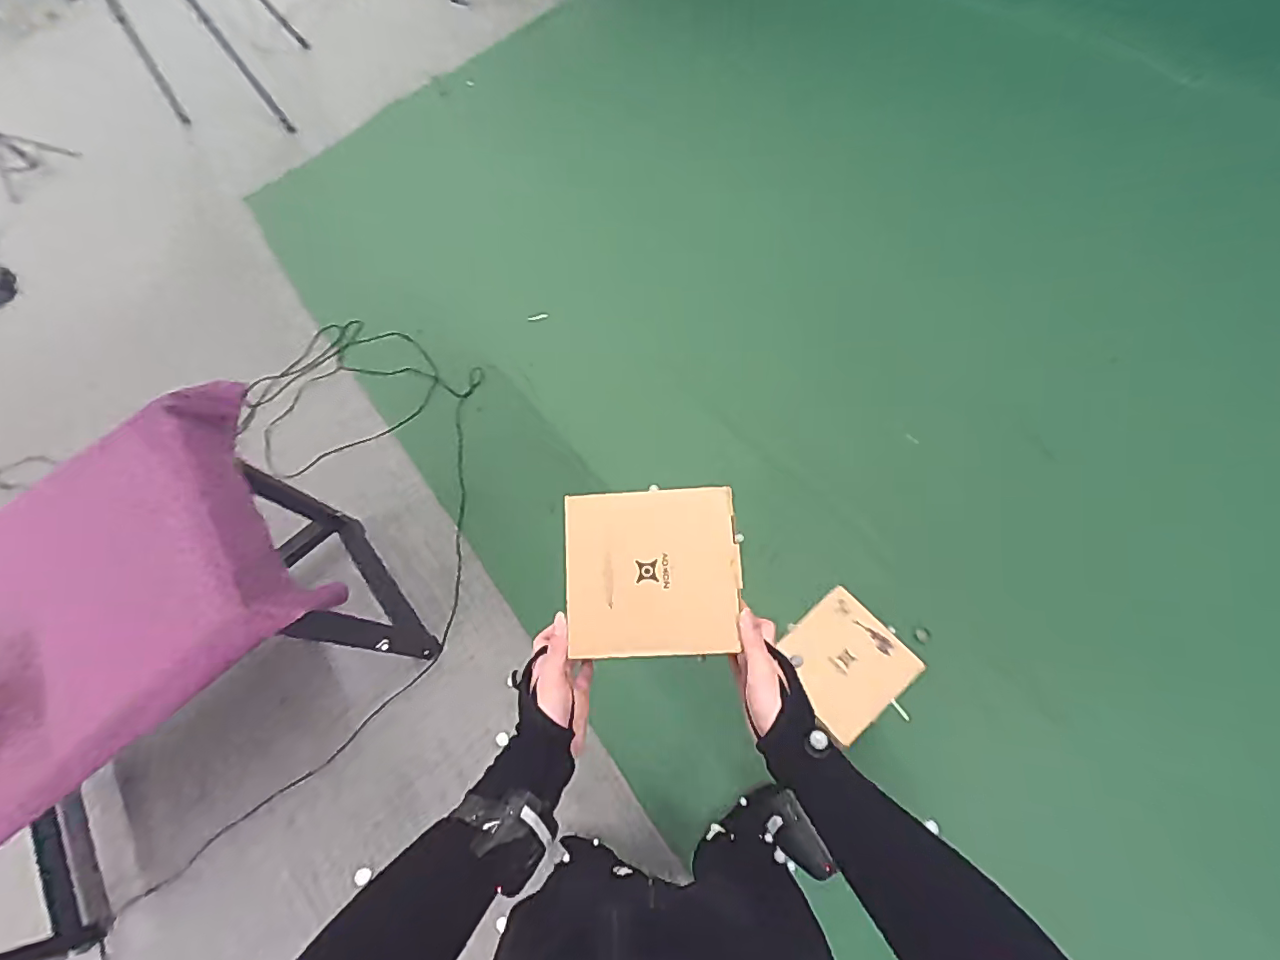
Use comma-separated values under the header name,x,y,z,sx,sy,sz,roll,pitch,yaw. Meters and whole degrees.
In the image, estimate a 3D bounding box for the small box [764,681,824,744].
name,x,y,z,sx,sy,sz,roll,pitch,yaw
small box,0.423,0.514,1.323,0.168,0.176,0.179,-42,66,-10

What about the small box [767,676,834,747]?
name,x,y,z,sx,sy,sz,roll,pitch,yaw
small box,0.396,0.449,1.178,0.168,0.176,0.179,-41,65,-8

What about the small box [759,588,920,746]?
name,x,y,z,sx,sy,sz,roll,pitch,yaw
small box,0.317,0.310,0.891,0.179,0.176,0.168,-40,65,-7
